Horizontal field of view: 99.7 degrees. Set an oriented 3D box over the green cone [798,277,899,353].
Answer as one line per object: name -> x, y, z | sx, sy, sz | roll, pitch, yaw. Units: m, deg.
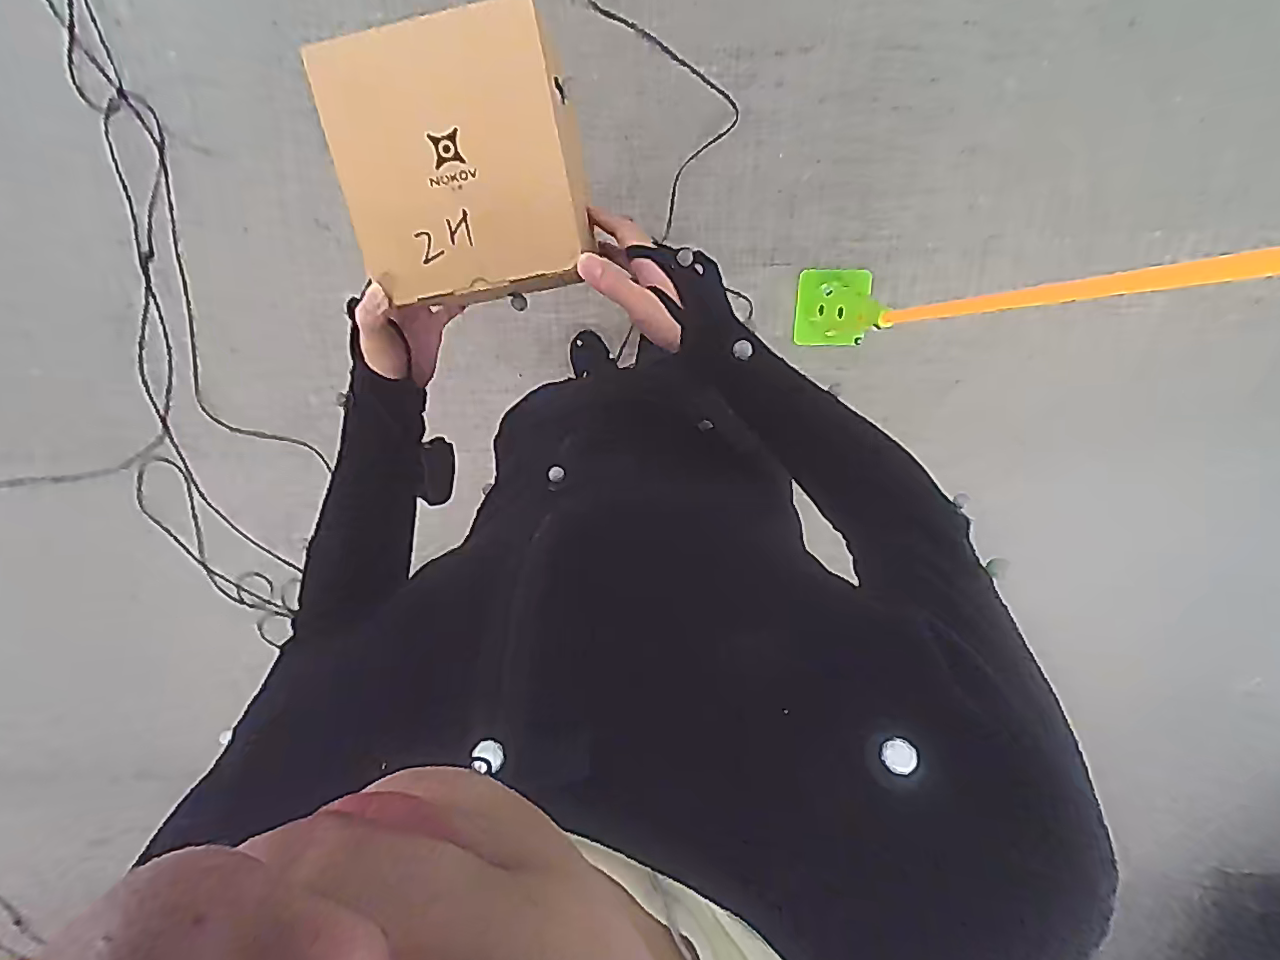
green cone -> 0.535, -0.392, 1.308 | 0.202, 0.368, 0.200 | 0, 109, 1
